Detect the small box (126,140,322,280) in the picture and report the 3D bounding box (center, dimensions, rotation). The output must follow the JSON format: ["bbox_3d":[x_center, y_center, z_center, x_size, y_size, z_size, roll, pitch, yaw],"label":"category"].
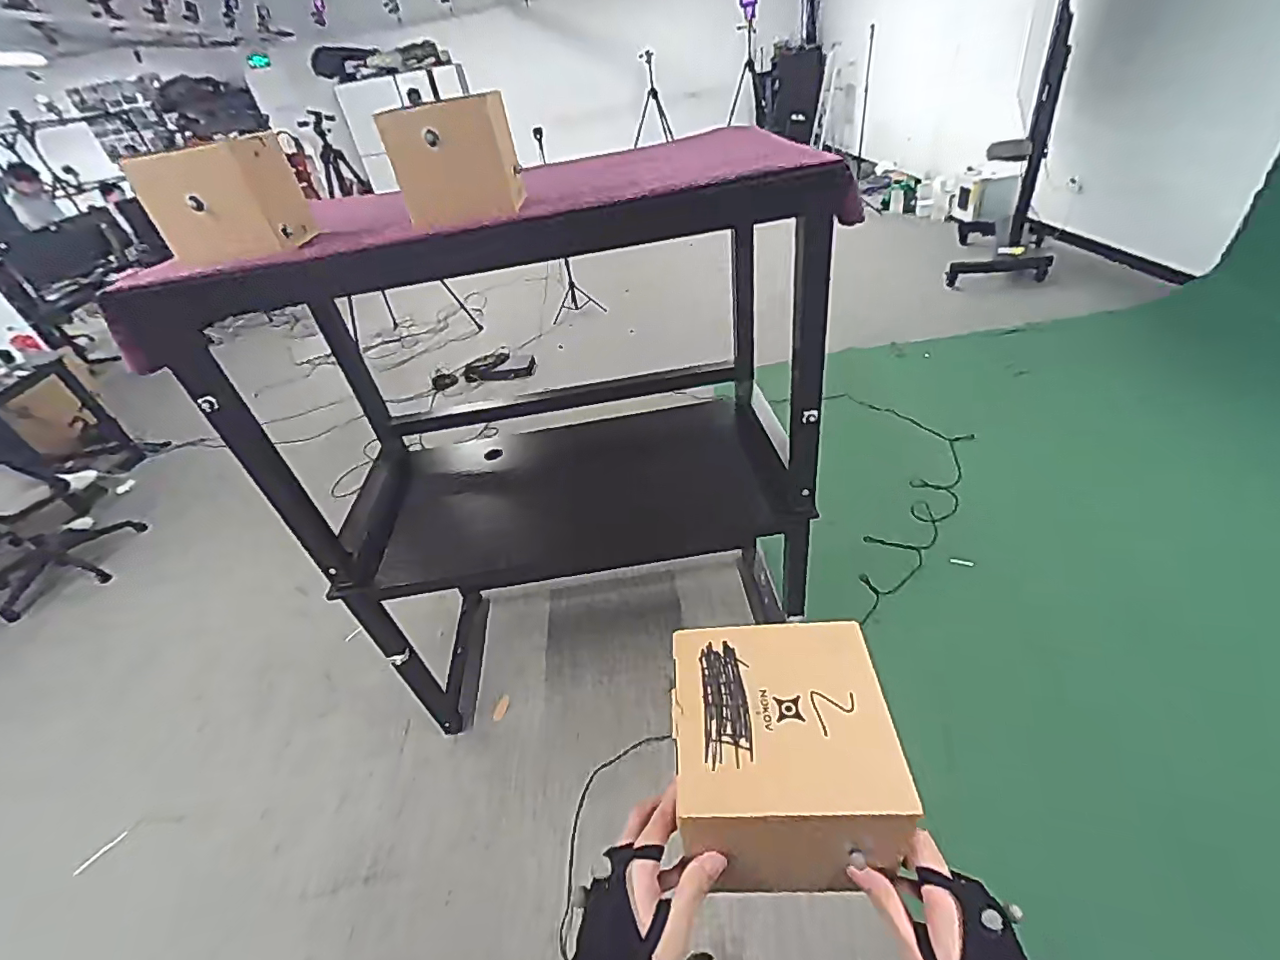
[{"bbox_3d":[-0.691,-0.463,0.929,0.179,0.176,0.168,-11,37,1],"label":"small box"}]

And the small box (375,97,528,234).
[{"bbox_3d":[-0.305,-0.532,0.918,0.179,0.176,0.168,-9,38,3],"label":"small box"}]
